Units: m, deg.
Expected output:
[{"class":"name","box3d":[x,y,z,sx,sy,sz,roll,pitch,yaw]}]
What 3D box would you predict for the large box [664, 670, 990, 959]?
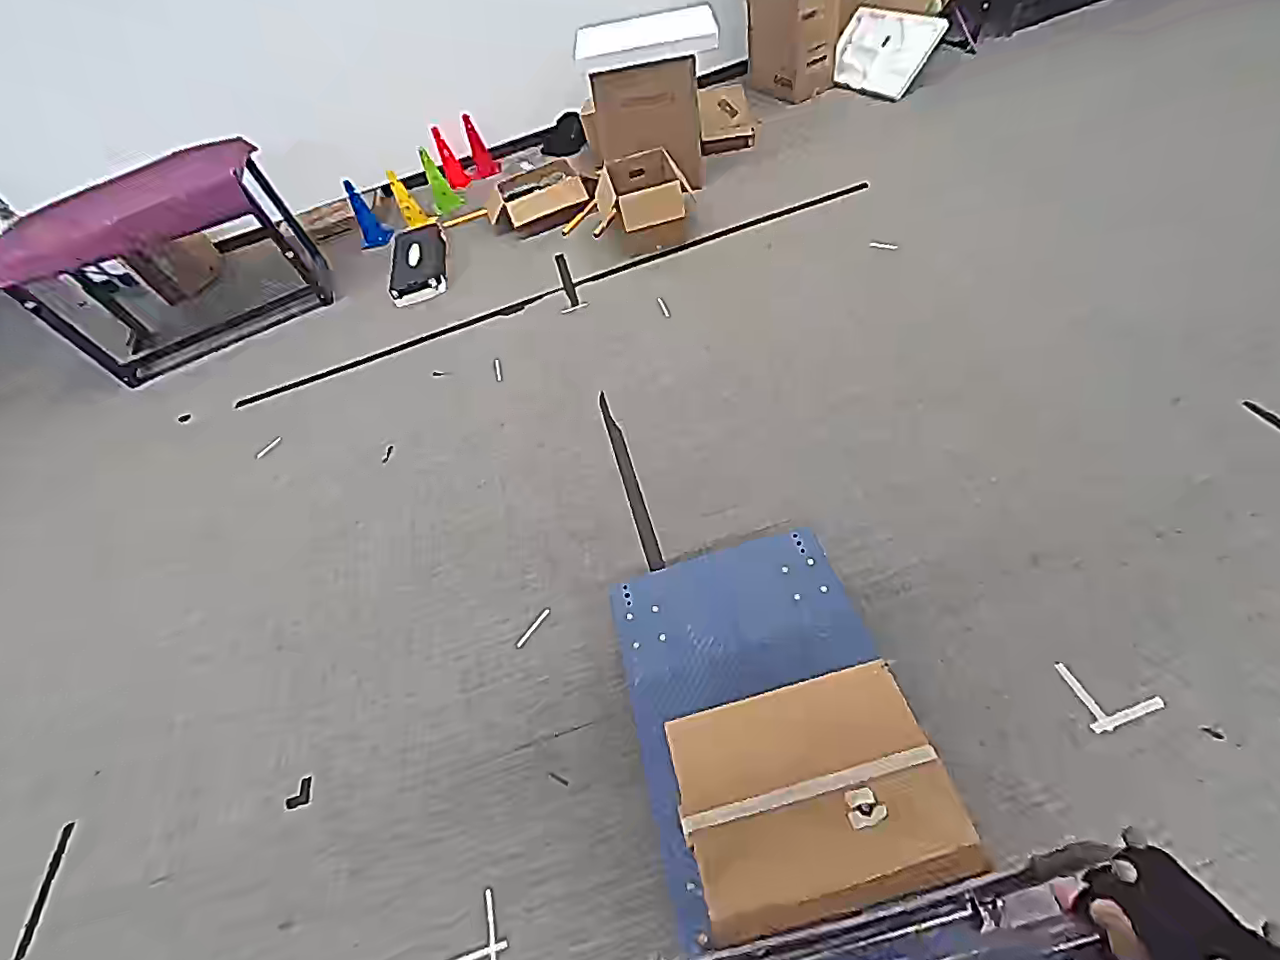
[{"class":"large box","box3d":[0.289,0.590,0.951,0.408,0.320,0.320,-17,51,0]}]
